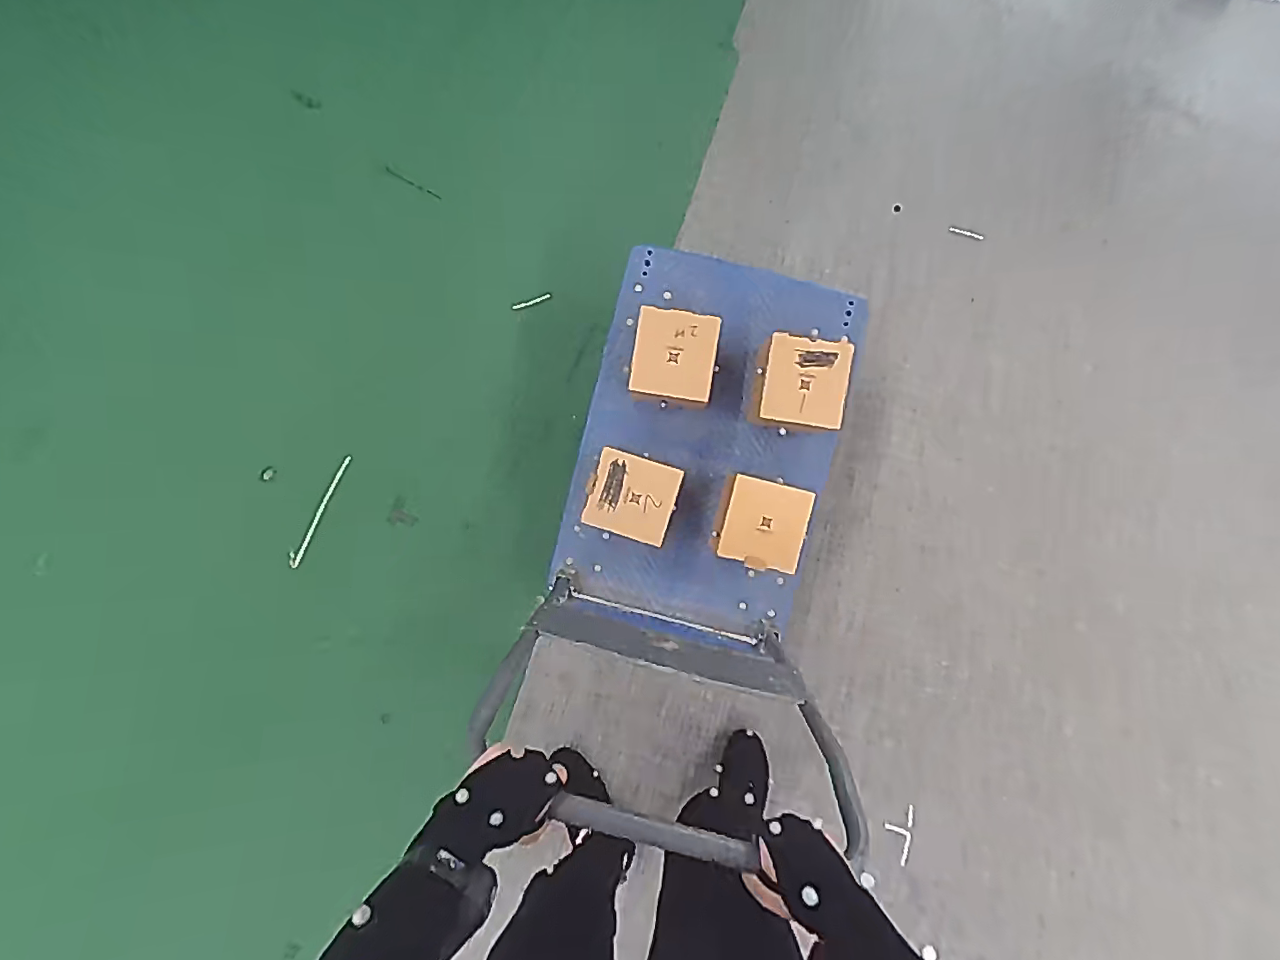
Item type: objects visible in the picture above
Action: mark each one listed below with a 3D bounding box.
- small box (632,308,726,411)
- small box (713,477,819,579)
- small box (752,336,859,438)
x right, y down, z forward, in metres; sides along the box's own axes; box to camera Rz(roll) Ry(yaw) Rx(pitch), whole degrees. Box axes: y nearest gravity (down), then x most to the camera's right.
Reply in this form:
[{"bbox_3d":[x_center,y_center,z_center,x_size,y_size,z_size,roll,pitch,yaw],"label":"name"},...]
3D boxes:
[{"bbox_3d":[0.081,-0.250,1.166,0.168,0.176,0.179,10,92,1],"label":"small box"},{"bbox_3d":[0.263,0.095,1.172,0.168,0.176,0.179,15,92,1],"label":"small box"},{"bbox_3d":[0.346,-0.192,1.160,0.168,0.176,0.179,10,93,2],"label":"small box"}]
